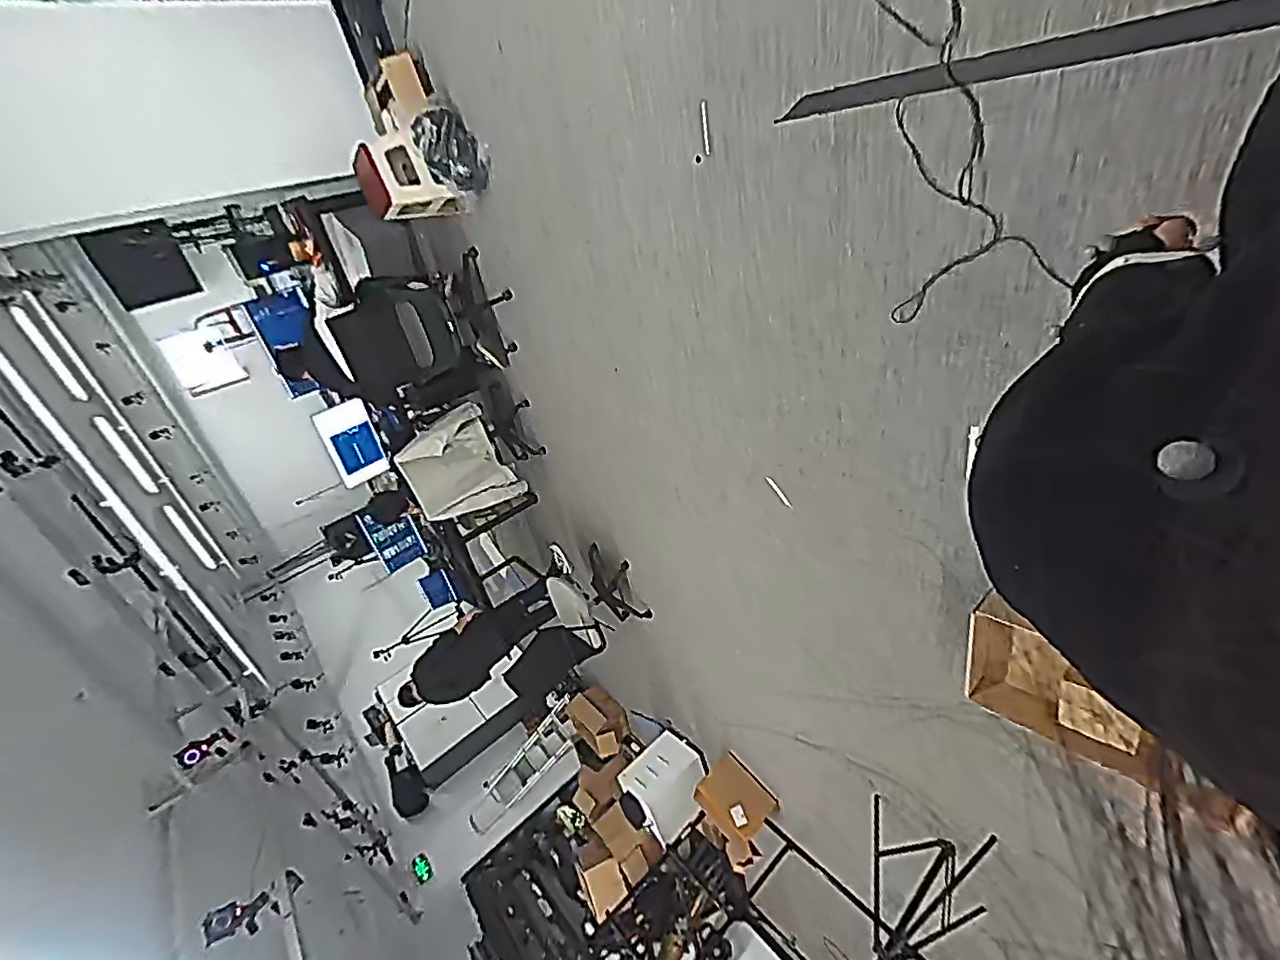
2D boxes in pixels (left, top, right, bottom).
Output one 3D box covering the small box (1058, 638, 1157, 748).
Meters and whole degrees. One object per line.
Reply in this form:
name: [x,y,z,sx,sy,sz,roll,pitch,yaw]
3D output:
small box: [1.250,0.562,1.447,0.168,0.176,0.179,13,128,50]
